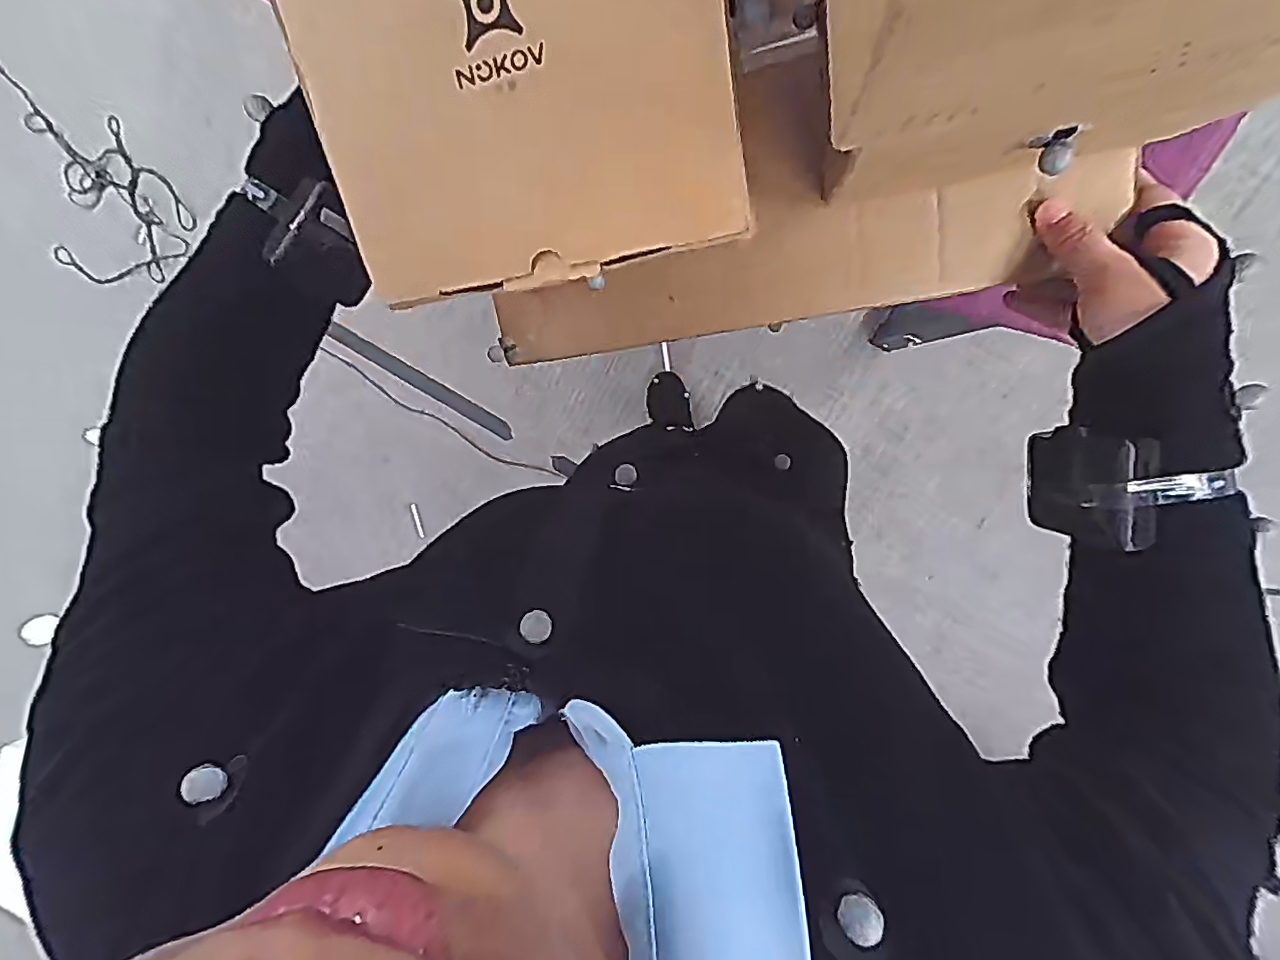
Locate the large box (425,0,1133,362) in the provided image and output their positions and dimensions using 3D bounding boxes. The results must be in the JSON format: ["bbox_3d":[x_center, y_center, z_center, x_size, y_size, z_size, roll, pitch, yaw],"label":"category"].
[{"bbox_3d":[0.098,-0.303,0.463,0.408,0.320,0.320,-6,105,16],"label":"large box"}]
